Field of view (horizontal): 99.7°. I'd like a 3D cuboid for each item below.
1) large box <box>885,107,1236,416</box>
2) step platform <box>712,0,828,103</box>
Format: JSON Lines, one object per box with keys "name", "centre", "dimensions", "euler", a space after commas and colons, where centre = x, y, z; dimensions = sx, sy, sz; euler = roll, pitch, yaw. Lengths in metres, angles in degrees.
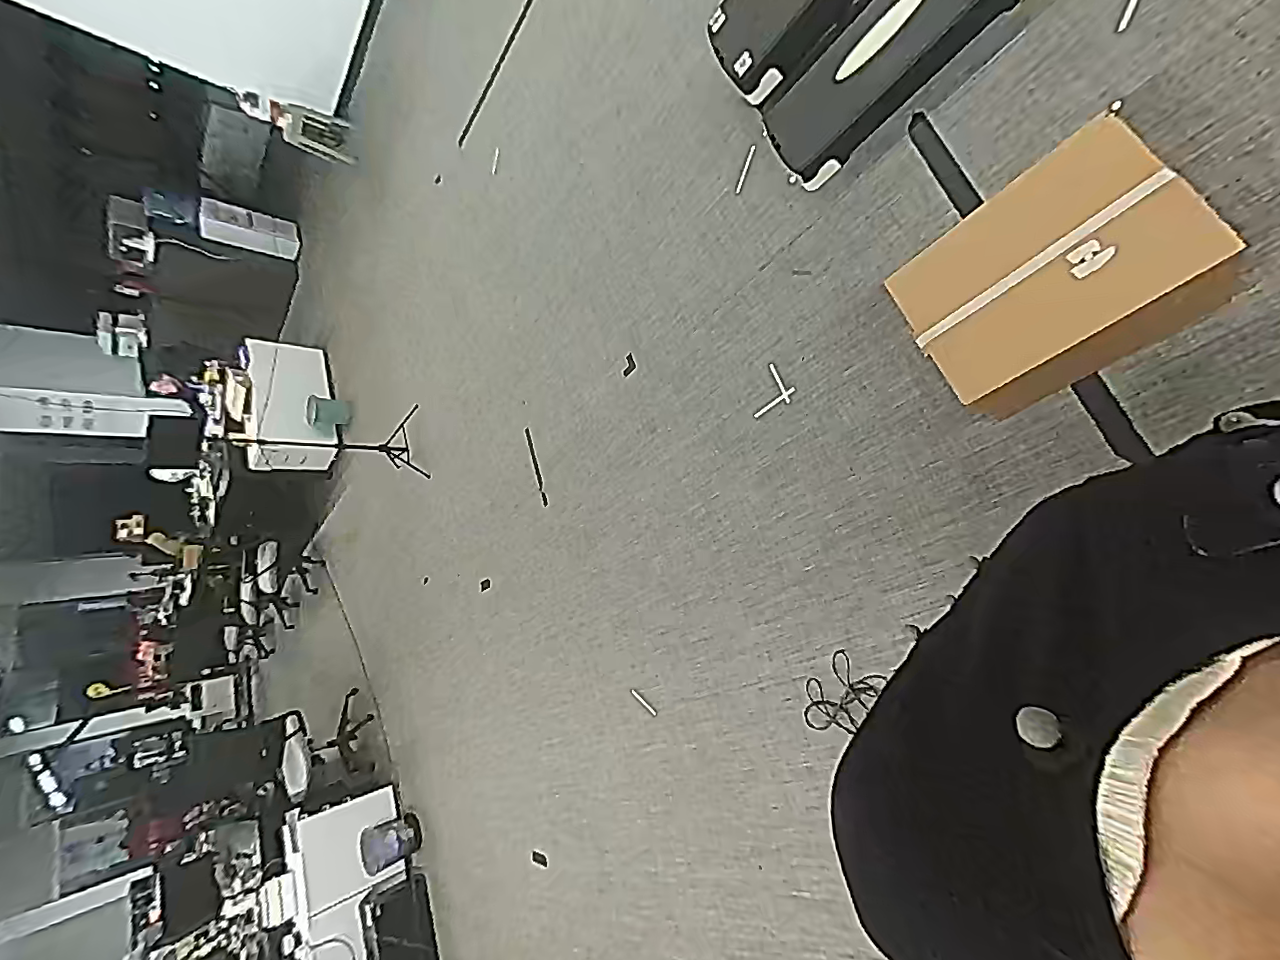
{"name": "large box", "centre": [0.778, -0.371, 1.041], "dimensions": [0.408, 0.320, 0.320], "euler": [-38, 64, 38]}
{"name": "step platform", "centre": [0.504, -1.365, 1.387], "dimensions": [0.684, 0.204, 0.286], "euler": [-29, 70, 41]}
